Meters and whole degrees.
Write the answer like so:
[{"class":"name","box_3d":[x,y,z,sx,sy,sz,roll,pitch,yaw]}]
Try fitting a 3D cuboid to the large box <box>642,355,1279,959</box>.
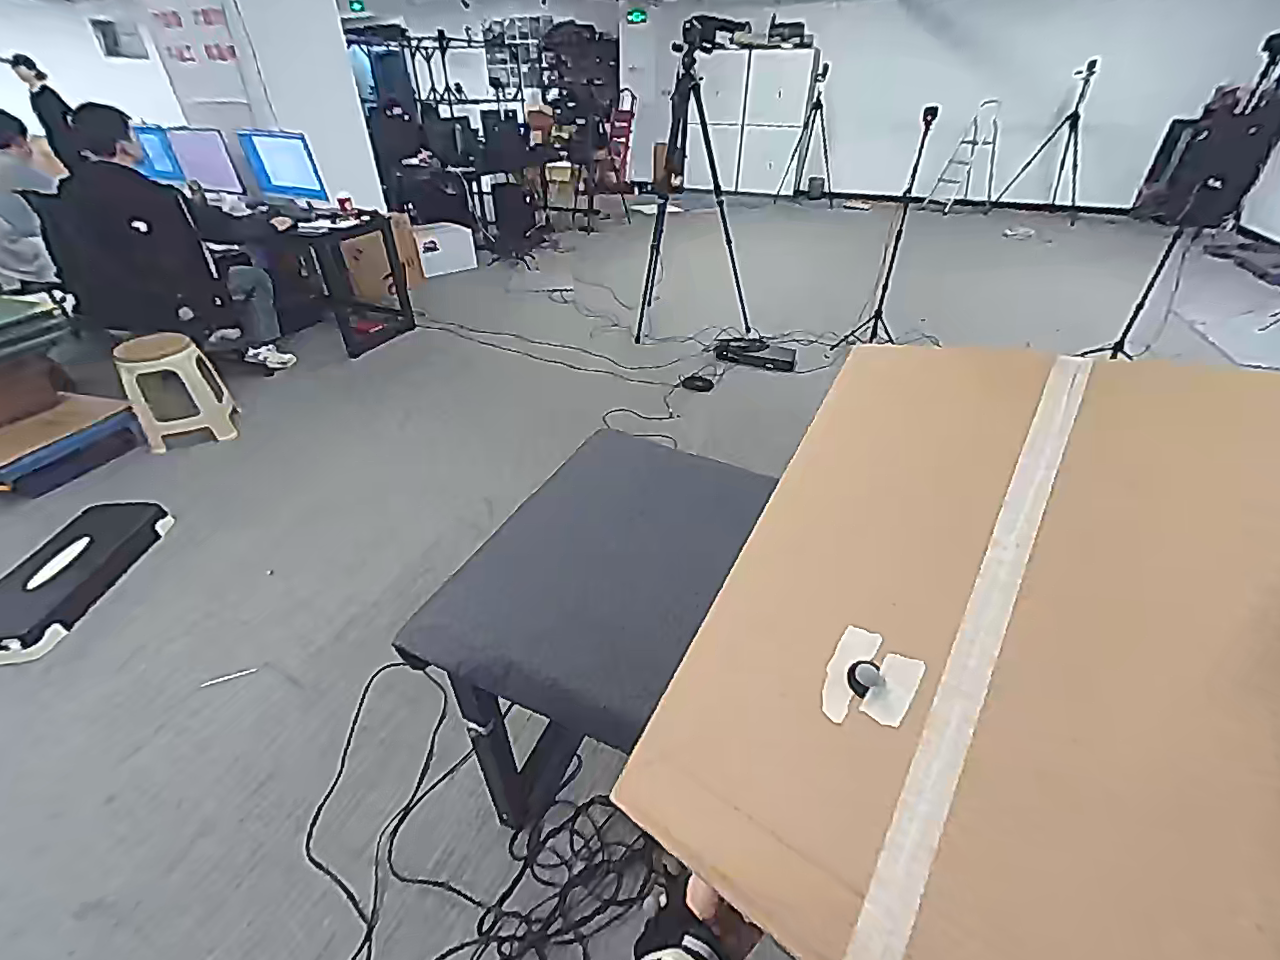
[{"class":"large box","box_3d":[0.270,0.164,0.434,0.320,0.320,0.408,17,66,37]}]
